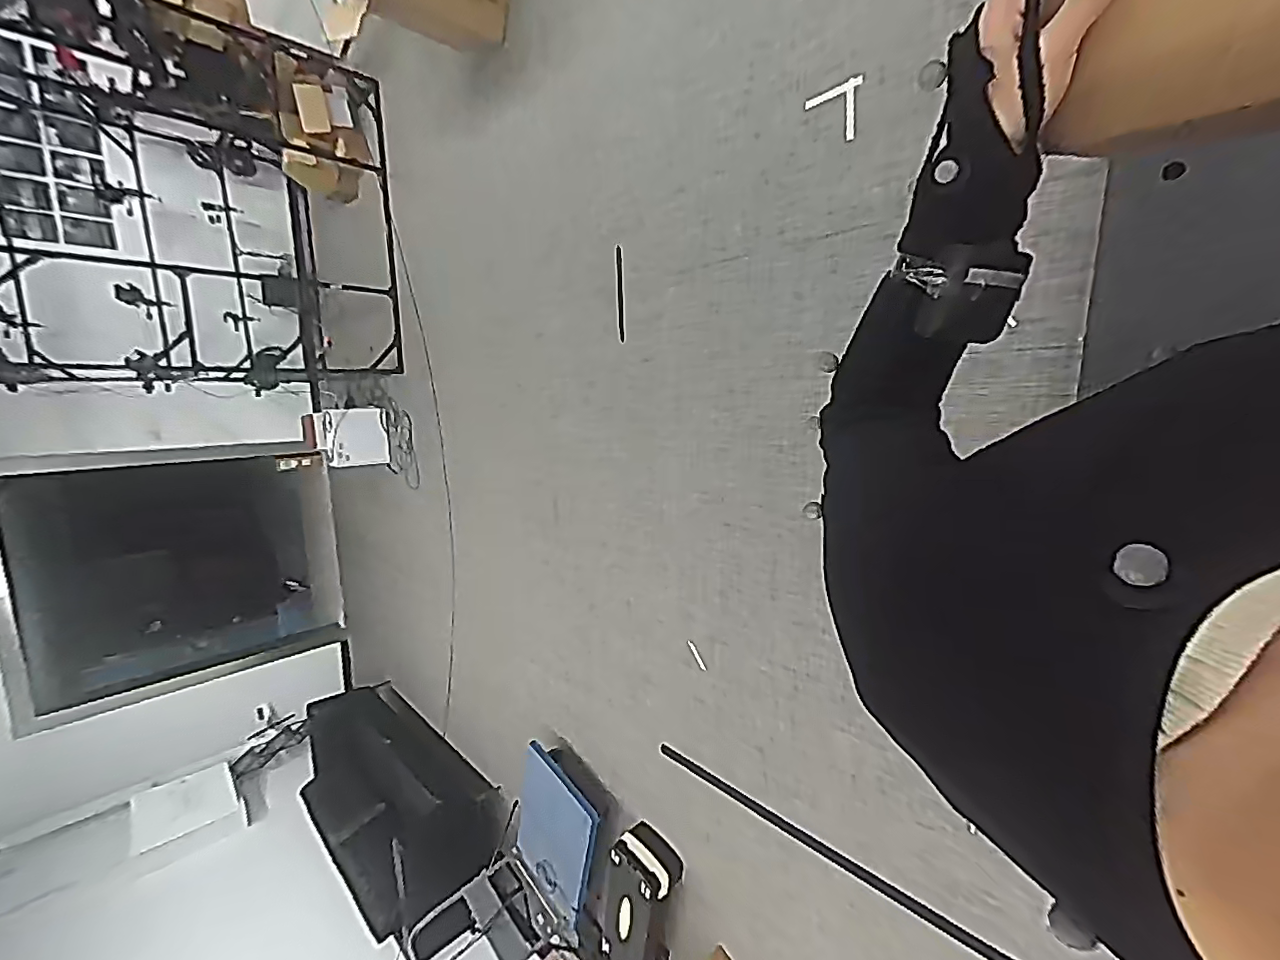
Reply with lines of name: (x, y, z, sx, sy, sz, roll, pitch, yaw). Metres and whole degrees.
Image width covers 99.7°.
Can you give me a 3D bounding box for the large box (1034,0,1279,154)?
large box: (0.465, -0.376, 0.243, 0.408, 0.320, 0.320, 13, 121, 45)
